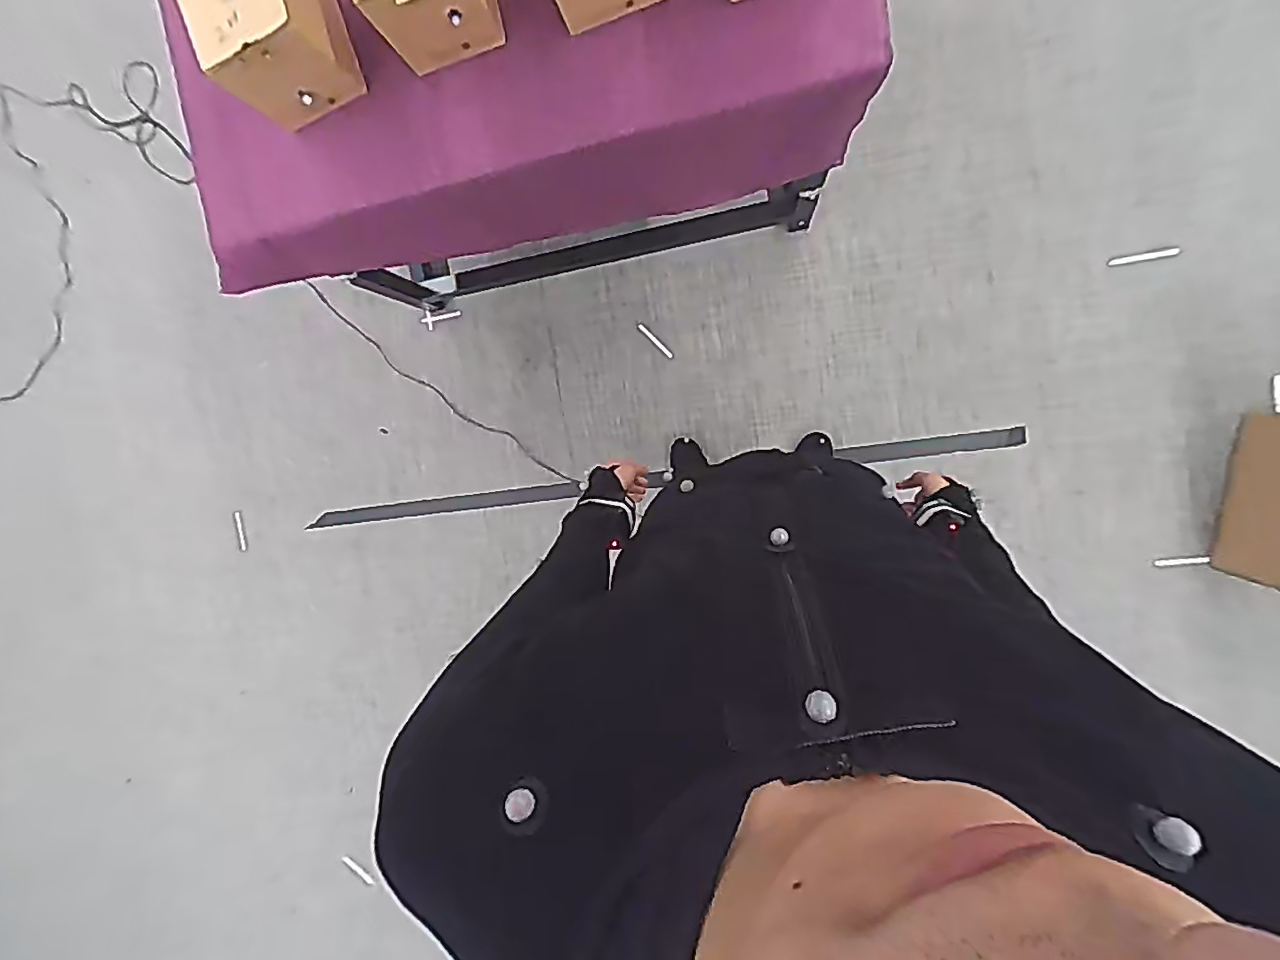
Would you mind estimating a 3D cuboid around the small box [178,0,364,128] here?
[{"bbox_3d":[-0.585,-0.718,0.864,0.168,0.176,0.179,-18,93,12],"label":"small box"}]

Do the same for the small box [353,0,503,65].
[{"bbox_3d":[-0.326,-0.773,0.813,0.168,0.176,0.179,-11,93,10],"label":"small box"}]
